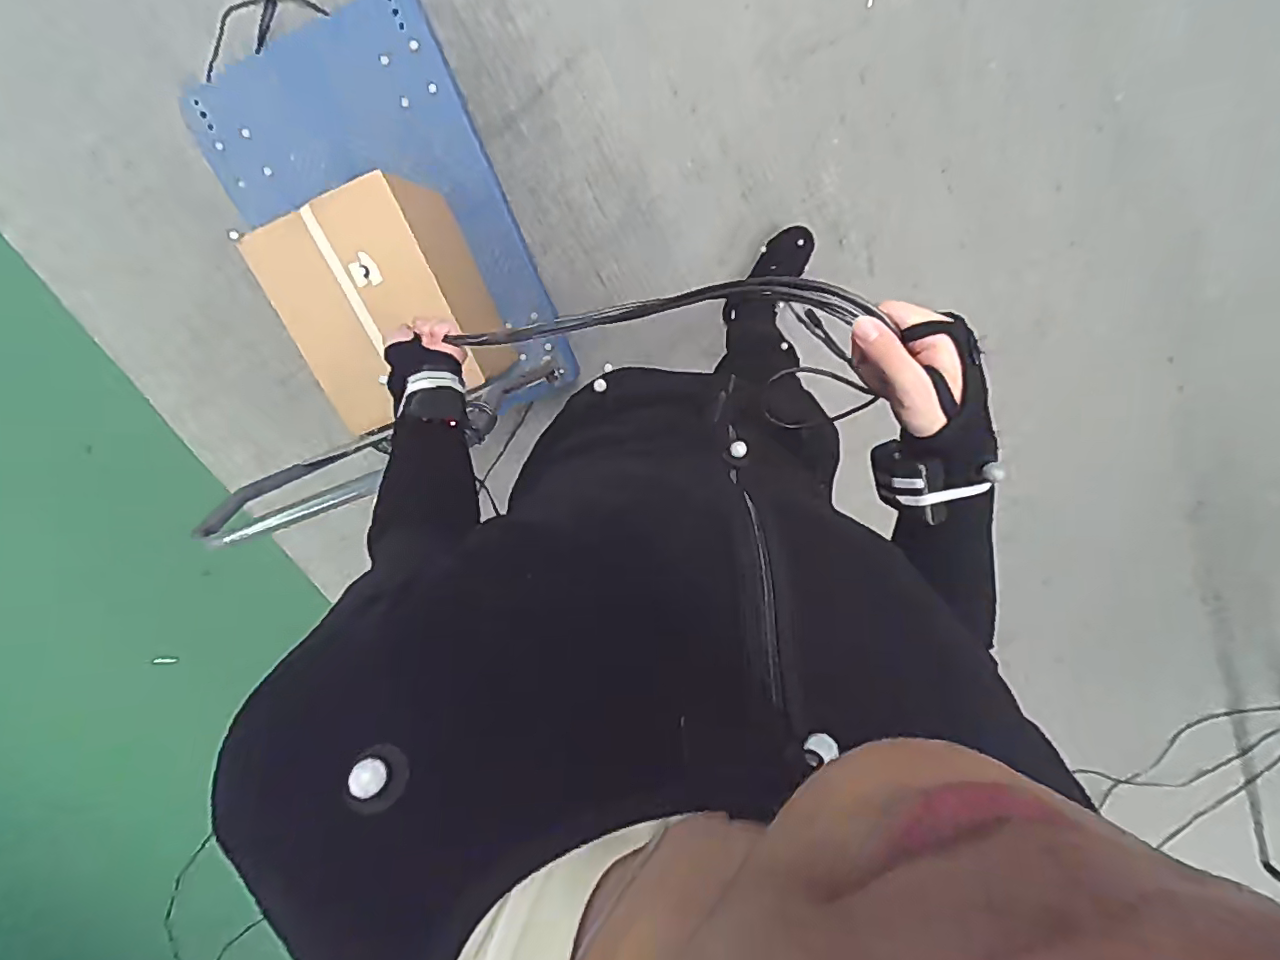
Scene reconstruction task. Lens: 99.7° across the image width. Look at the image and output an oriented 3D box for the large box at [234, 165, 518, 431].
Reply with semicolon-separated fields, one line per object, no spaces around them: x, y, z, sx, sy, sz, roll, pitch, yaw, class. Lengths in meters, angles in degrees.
-0.514;-0.371;1.153;0.320;0.320;0.408;-21;108;8;large box
